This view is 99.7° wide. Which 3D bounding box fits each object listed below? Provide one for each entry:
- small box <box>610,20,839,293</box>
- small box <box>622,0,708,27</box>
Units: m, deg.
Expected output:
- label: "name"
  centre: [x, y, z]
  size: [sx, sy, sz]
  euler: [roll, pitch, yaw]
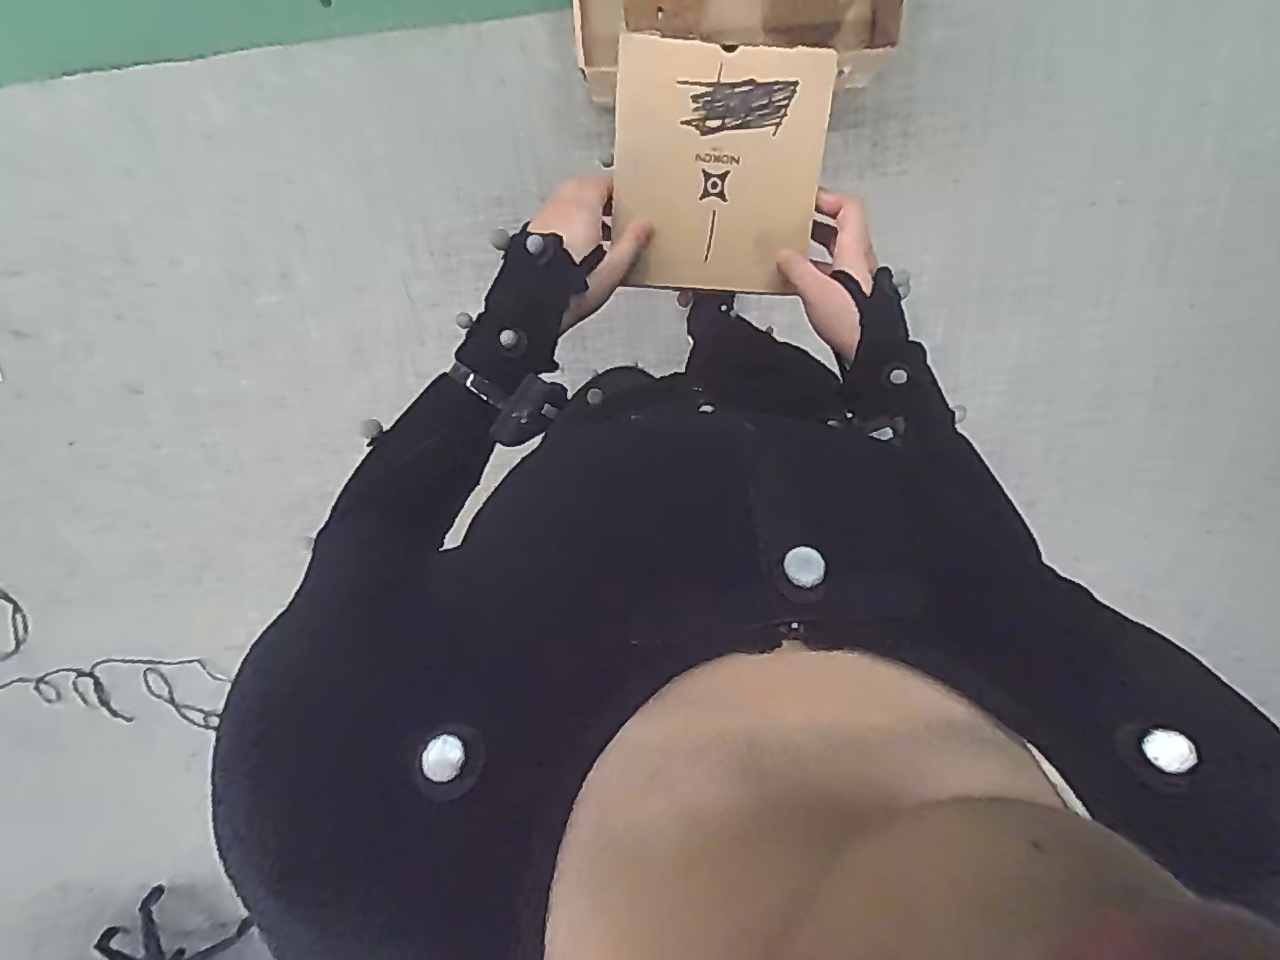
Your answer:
- label: "small box"
  centre: [0.059, -0.269, 0.493]
  size: [0.168, 0.176, 0.179]
  euler: [3, 109, -2]
- label: "small box"
  centre: [0.040, -0.990, 1.015]
  size: [0.168, 0.176, 0.179]
  euler: [-7, 109, 3]
